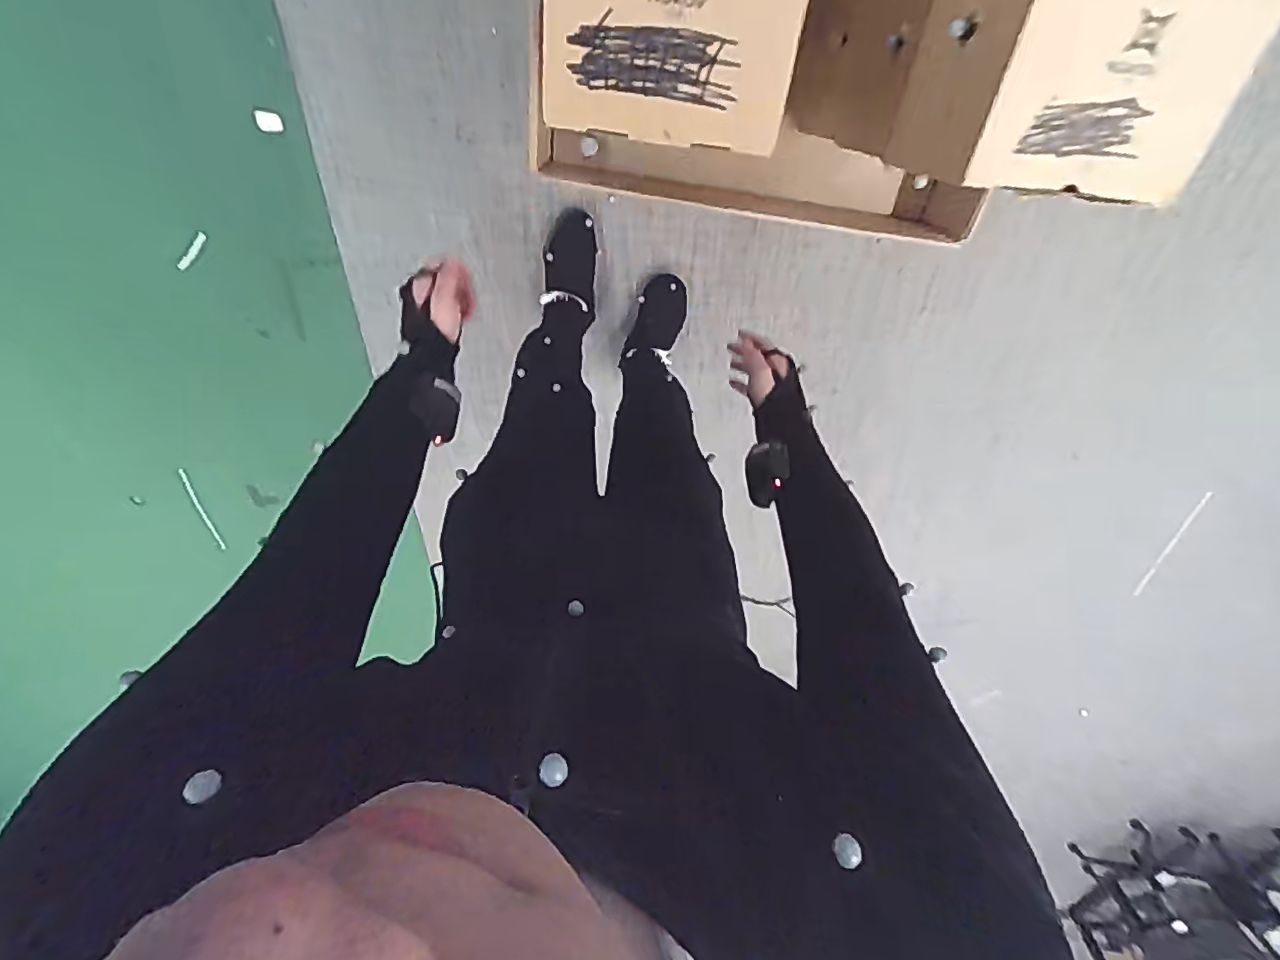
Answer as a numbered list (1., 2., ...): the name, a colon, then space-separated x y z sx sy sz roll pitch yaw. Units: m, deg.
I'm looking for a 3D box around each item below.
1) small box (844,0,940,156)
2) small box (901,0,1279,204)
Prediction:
1. small box: 0.329 -0.428 0.547 0.168 0.176 0.179 5 126 -4
2. small box: 0.331 -0.330 0.416 0.168 0.176 0.179 5 124 -3
